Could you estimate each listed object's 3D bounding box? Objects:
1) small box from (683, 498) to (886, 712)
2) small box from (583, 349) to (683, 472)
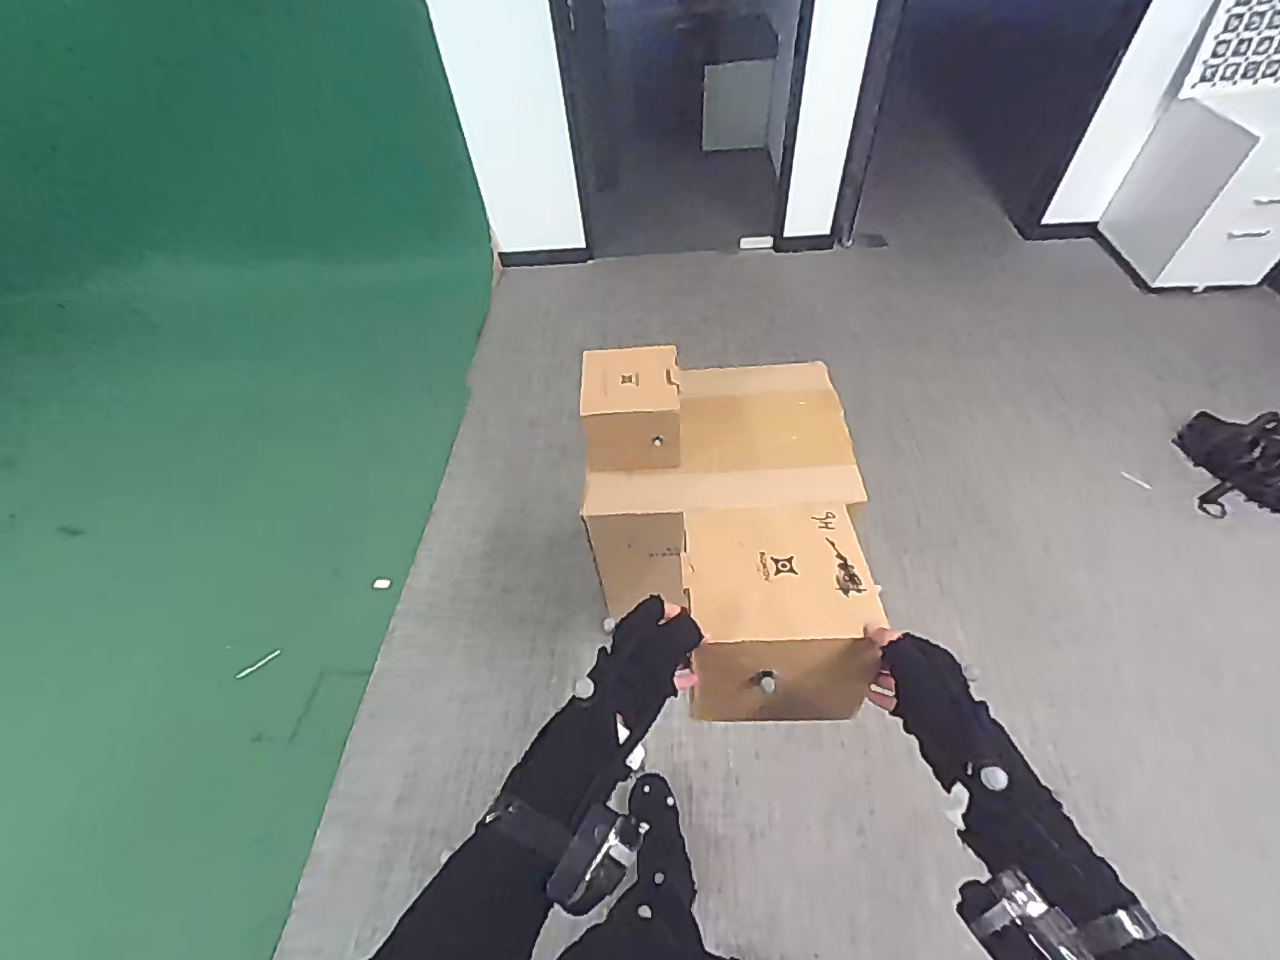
[{"bbox_3d":[0.141,0.139,0.590,0.179,0.176,0.168,-3,43,4],"label":"small box"},{"bbox_3d":[-0.009,-0.130,1.042,0.179,0.176,0.168,-4,54,3],"label":"small box"}]
